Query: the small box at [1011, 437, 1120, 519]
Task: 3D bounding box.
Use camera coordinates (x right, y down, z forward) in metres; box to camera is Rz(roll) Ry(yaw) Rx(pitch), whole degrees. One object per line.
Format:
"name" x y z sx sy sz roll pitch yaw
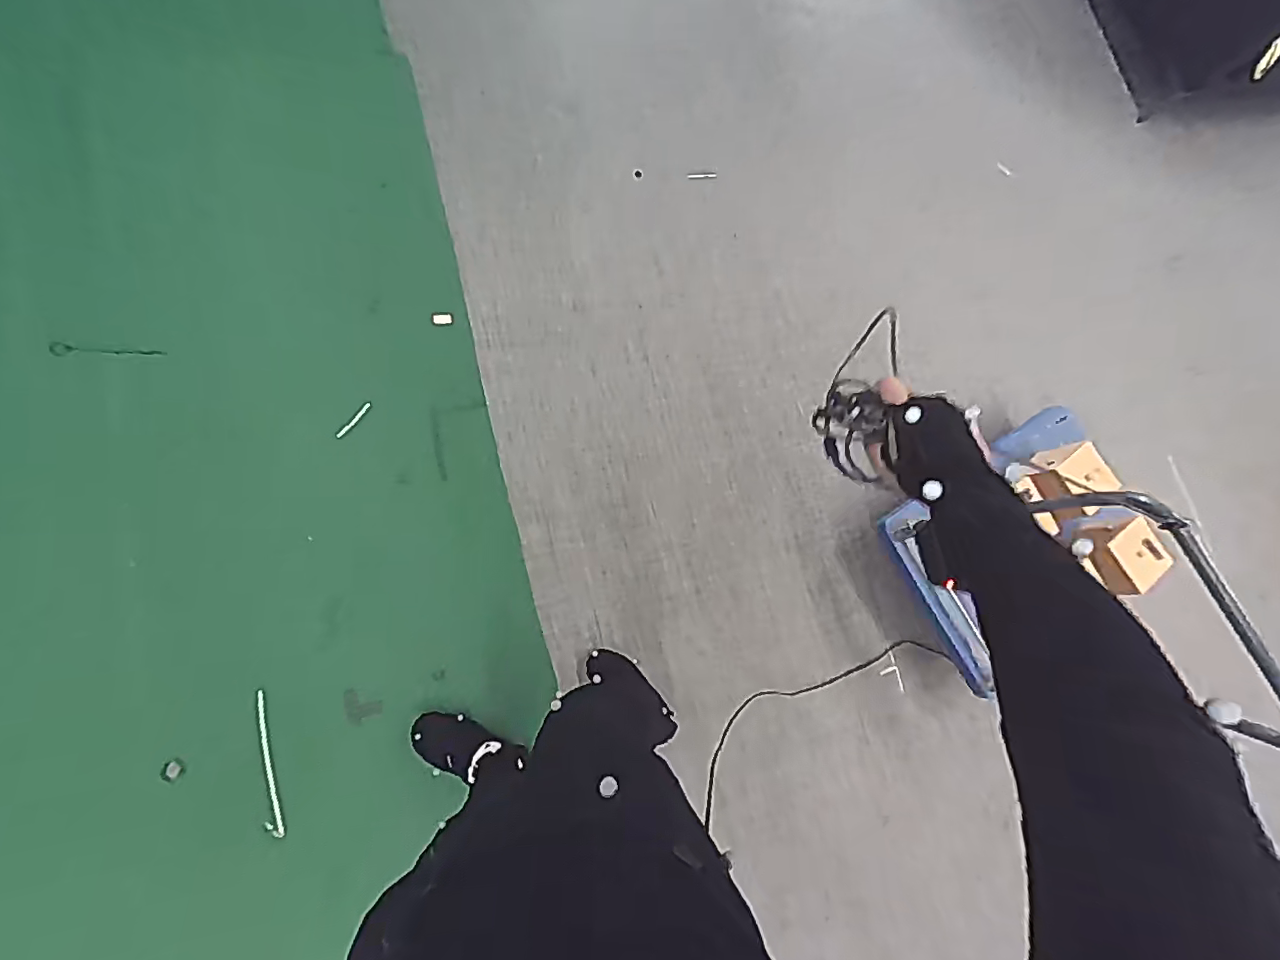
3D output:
"small box" 1.262 0.002 1.622 0.179 0.176 0.168 -32 87 -18

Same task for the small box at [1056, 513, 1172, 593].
"small box" 1.398 0.220 1.604 0.179 0.176 0.168 -30 85 -17
